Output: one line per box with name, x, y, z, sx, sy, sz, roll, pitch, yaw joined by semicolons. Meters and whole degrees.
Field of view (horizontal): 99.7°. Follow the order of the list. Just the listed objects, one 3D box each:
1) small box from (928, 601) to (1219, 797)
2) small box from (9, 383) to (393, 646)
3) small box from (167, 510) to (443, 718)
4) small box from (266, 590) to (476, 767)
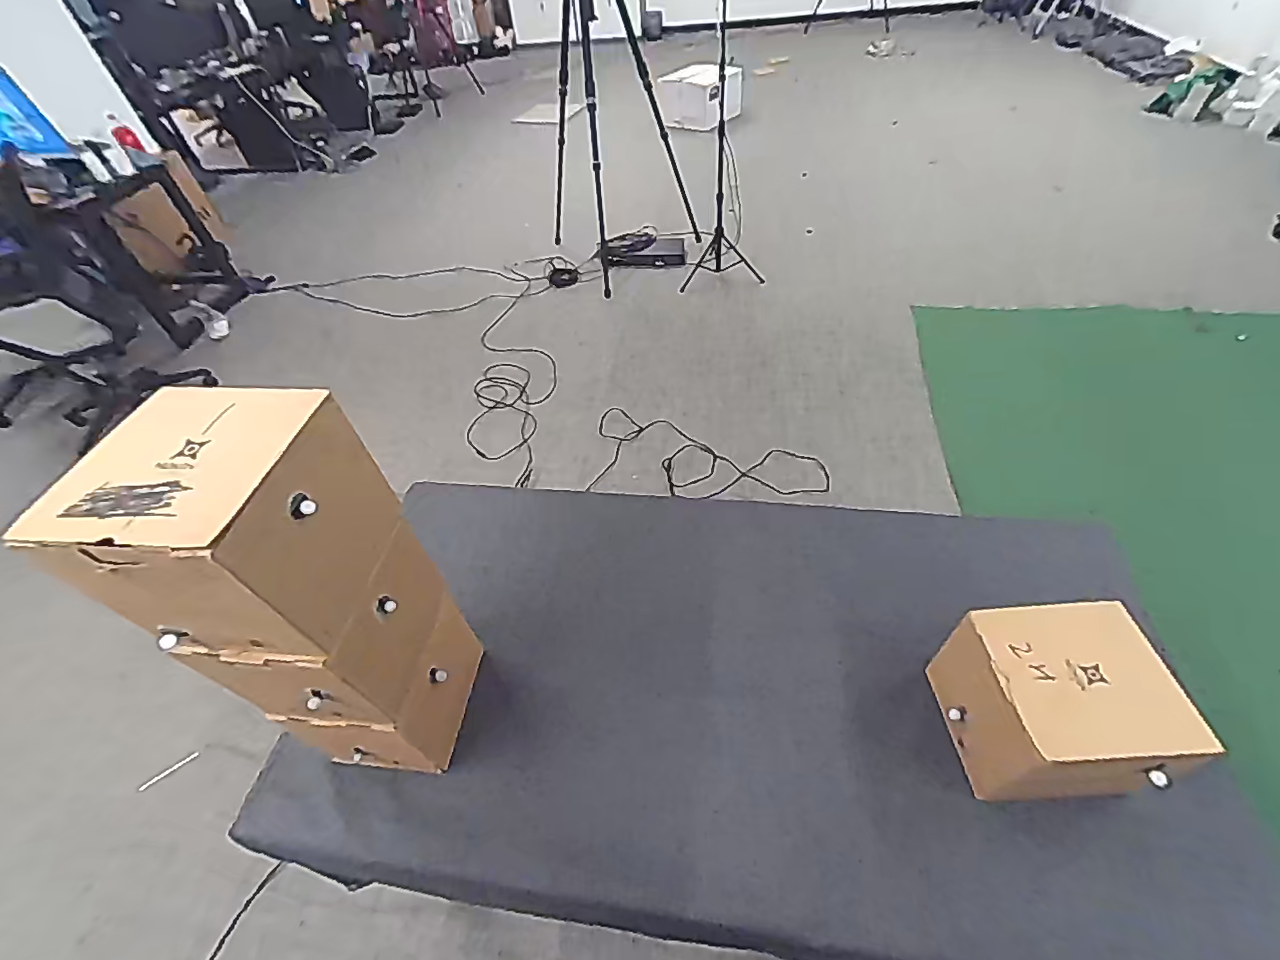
small box;0.475;0.259;0.633;0.179;0.176;0.168;-4;47;3
small box;-0.355;0.033;0.488;0.168;0.176;0.179;2;48;6
small box;-0.344;0.148;0.604;0.168;0.176;0.179;3;48;7
small box;-0.335;0.259;0.722;0.168;0.176;0.179;2;49;7
